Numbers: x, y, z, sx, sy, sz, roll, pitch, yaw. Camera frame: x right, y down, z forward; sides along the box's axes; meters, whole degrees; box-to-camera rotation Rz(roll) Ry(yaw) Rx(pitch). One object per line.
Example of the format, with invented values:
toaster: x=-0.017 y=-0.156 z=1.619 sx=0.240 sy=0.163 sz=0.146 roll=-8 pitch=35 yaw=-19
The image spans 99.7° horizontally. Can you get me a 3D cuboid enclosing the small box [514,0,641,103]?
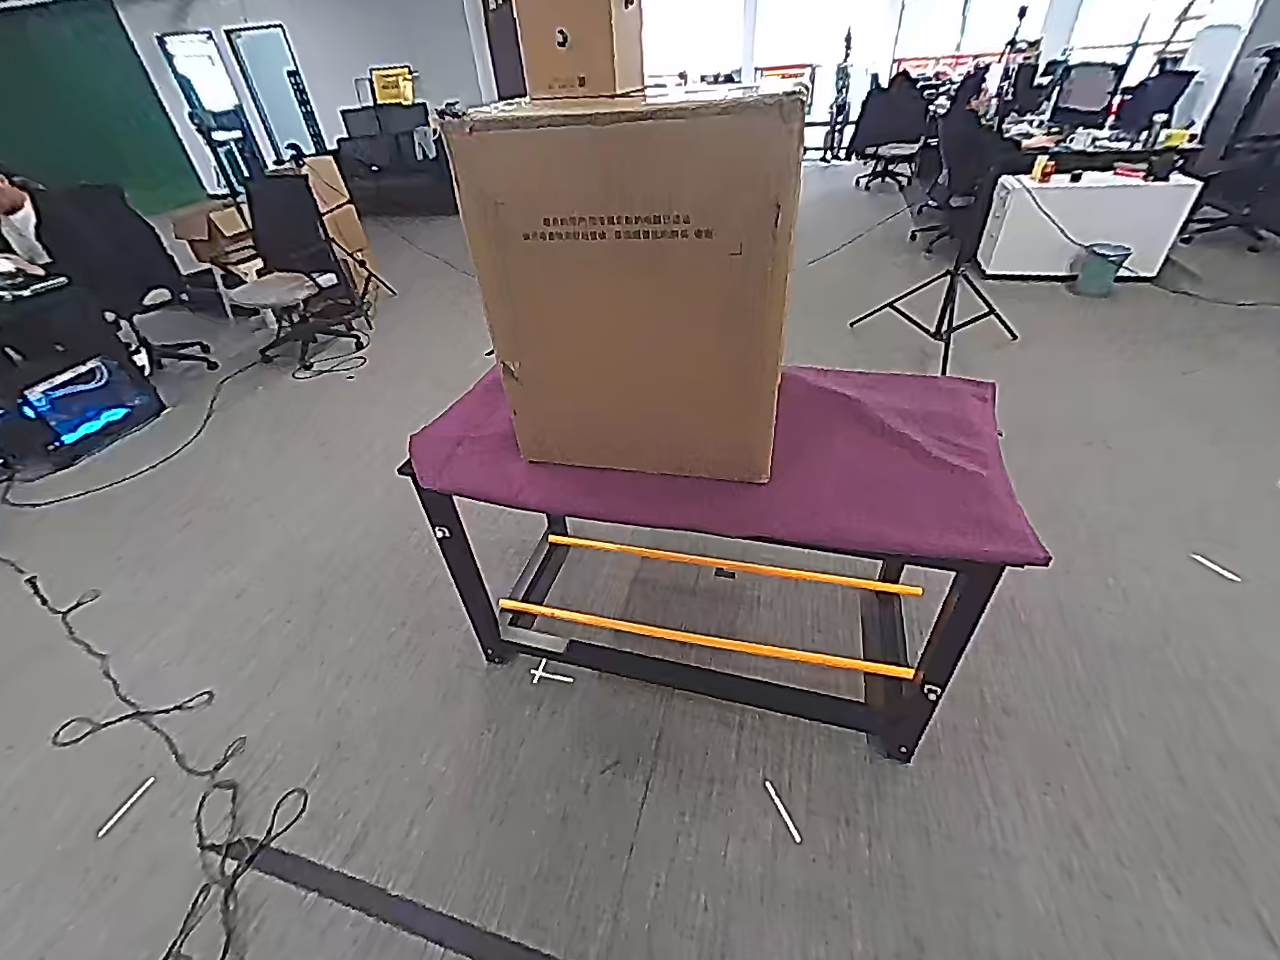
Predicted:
small box: x=-0.097 y=-0.765 z=0.945 sx=0.168 sy=0.176 sz=0.179 roll=9 pitch=39 yaw=15
